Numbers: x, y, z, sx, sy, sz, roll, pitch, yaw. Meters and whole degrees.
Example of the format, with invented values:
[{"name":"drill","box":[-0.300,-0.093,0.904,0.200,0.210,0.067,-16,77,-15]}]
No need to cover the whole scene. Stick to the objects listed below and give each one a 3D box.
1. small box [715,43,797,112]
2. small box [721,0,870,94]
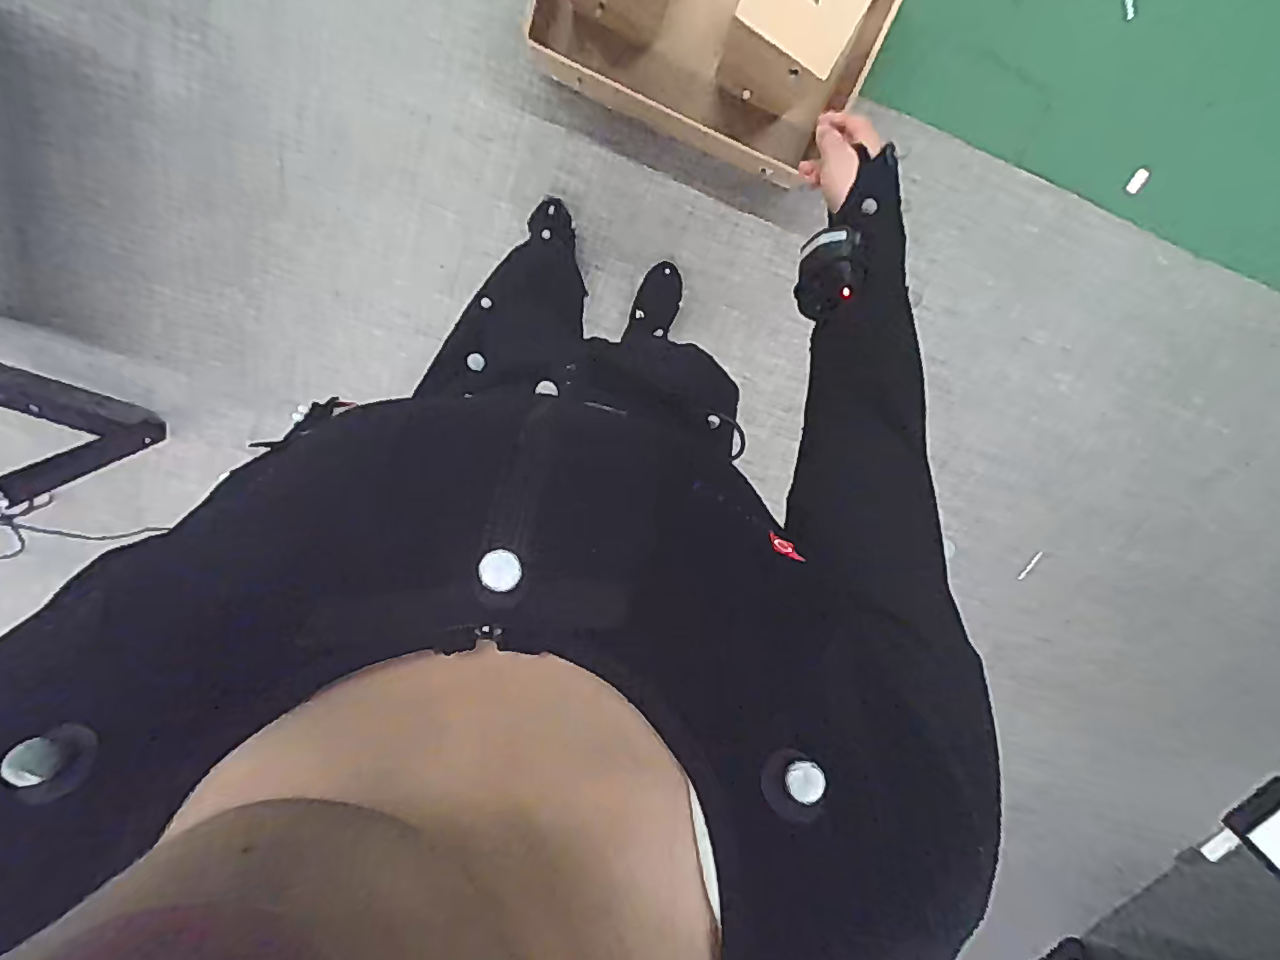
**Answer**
[{"name":"small box","box":[0.255,-0.838,1.018,0.168,0.176,0.179,27,115,-11]},{"name":"small box","box":[0.251,-0.762,0.871,0.179,0.176,0.168,27,113,-11]}]
